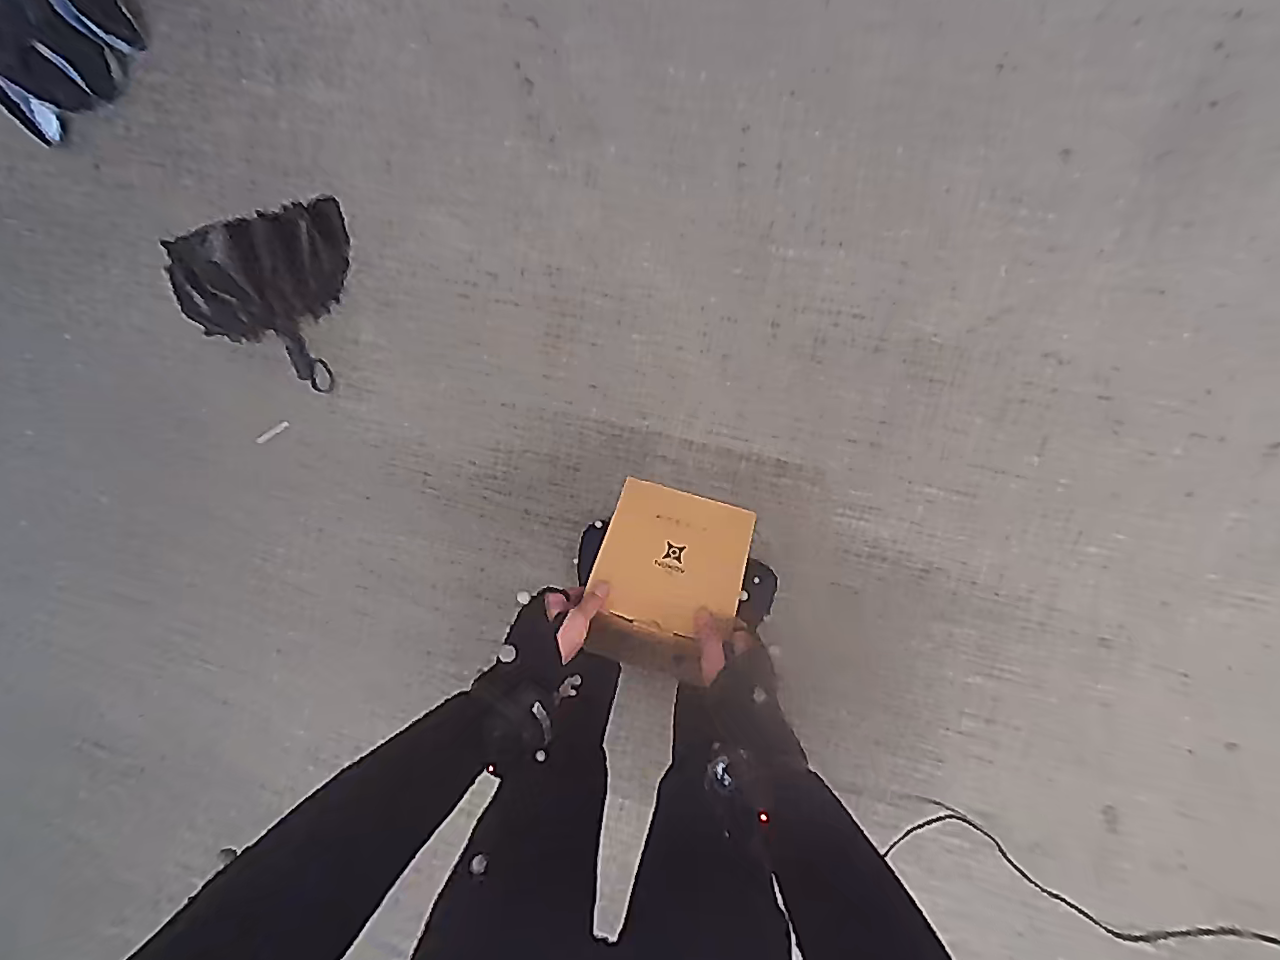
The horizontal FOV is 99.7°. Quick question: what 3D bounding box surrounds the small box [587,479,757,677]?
[{"bbox_3d":[0.038,0.132,0.695,0.168,0.176,0.179,16,56,5],"label":"small box"}]
